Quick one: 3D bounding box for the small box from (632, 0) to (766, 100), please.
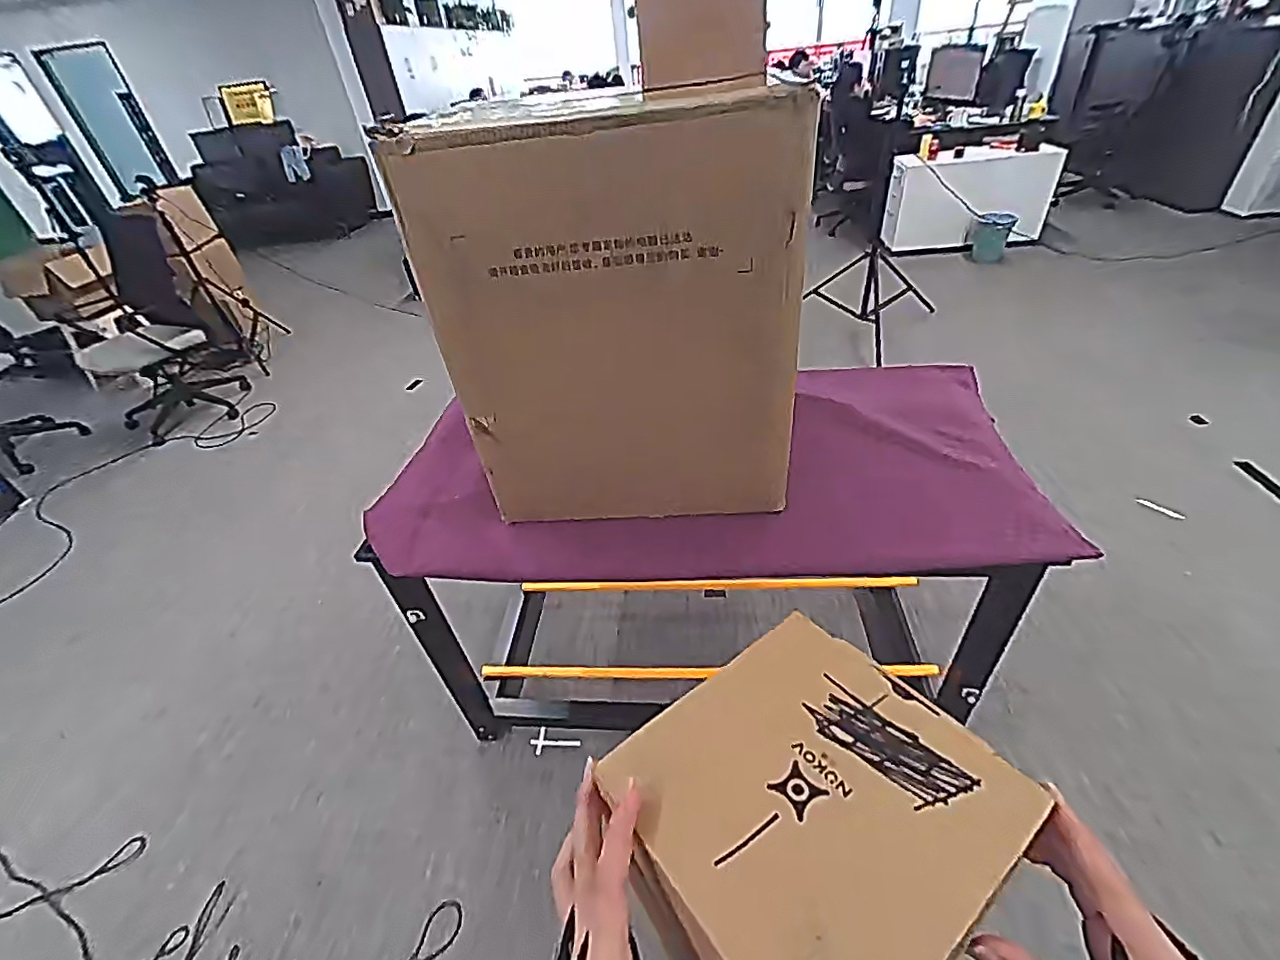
[{"bbox_3d":[0.083,-0.648,0.760,0.179,0.176,0.168,-3,38,6],"label":"small box"}]
